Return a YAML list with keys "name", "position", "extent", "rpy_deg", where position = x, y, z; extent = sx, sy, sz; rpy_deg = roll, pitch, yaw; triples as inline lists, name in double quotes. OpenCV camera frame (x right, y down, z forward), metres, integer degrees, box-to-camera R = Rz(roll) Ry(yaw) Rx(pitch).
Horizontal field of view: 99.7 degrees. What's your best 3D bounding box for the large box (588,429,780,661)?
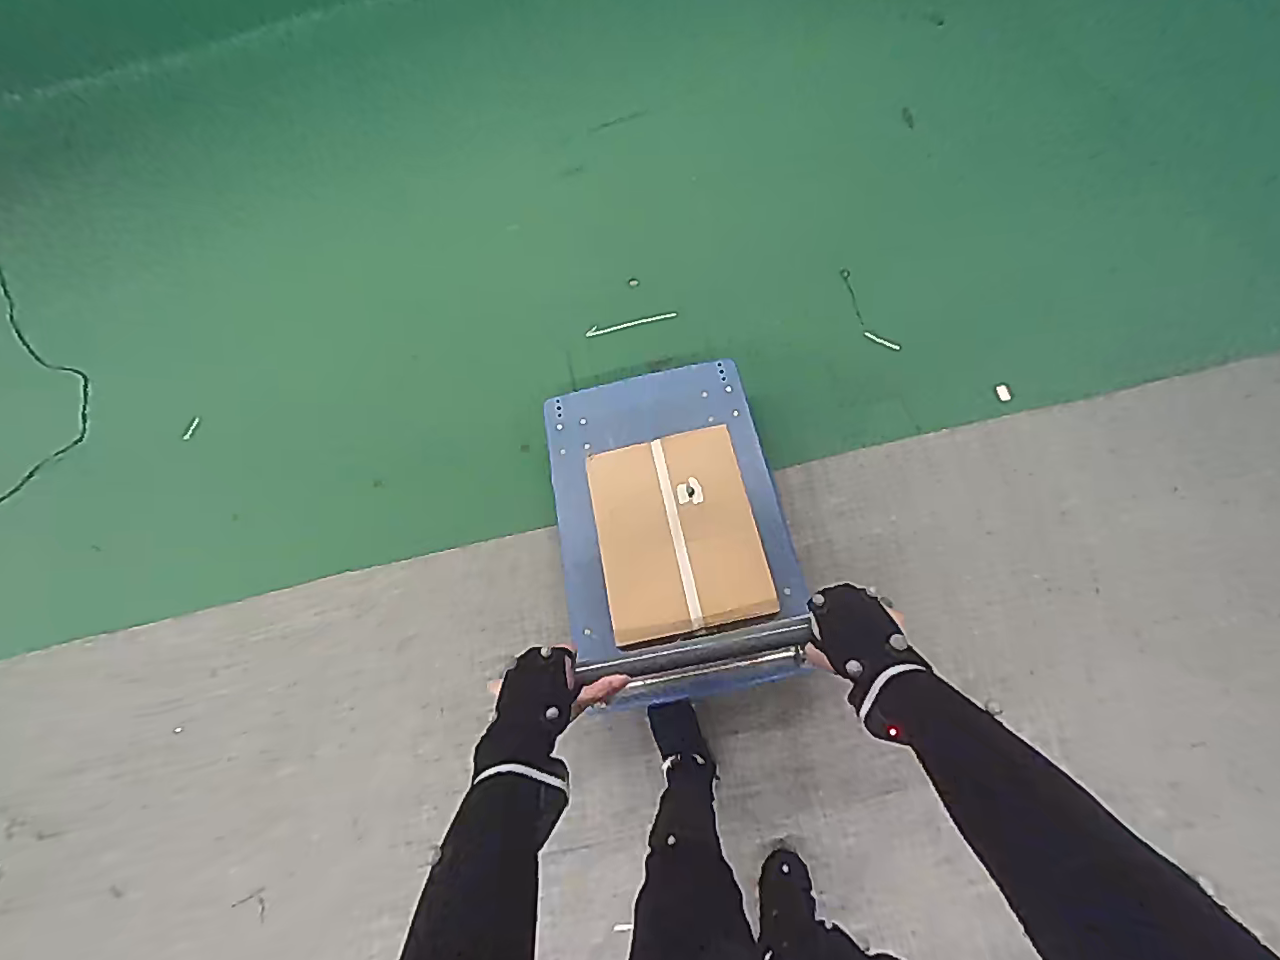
- name: "large box"
  position: [0.096, 0.159, 1.214]
  extent: [0.320, 0.320, 0.408]
  rpy_deg: [-13, 65, 2]
